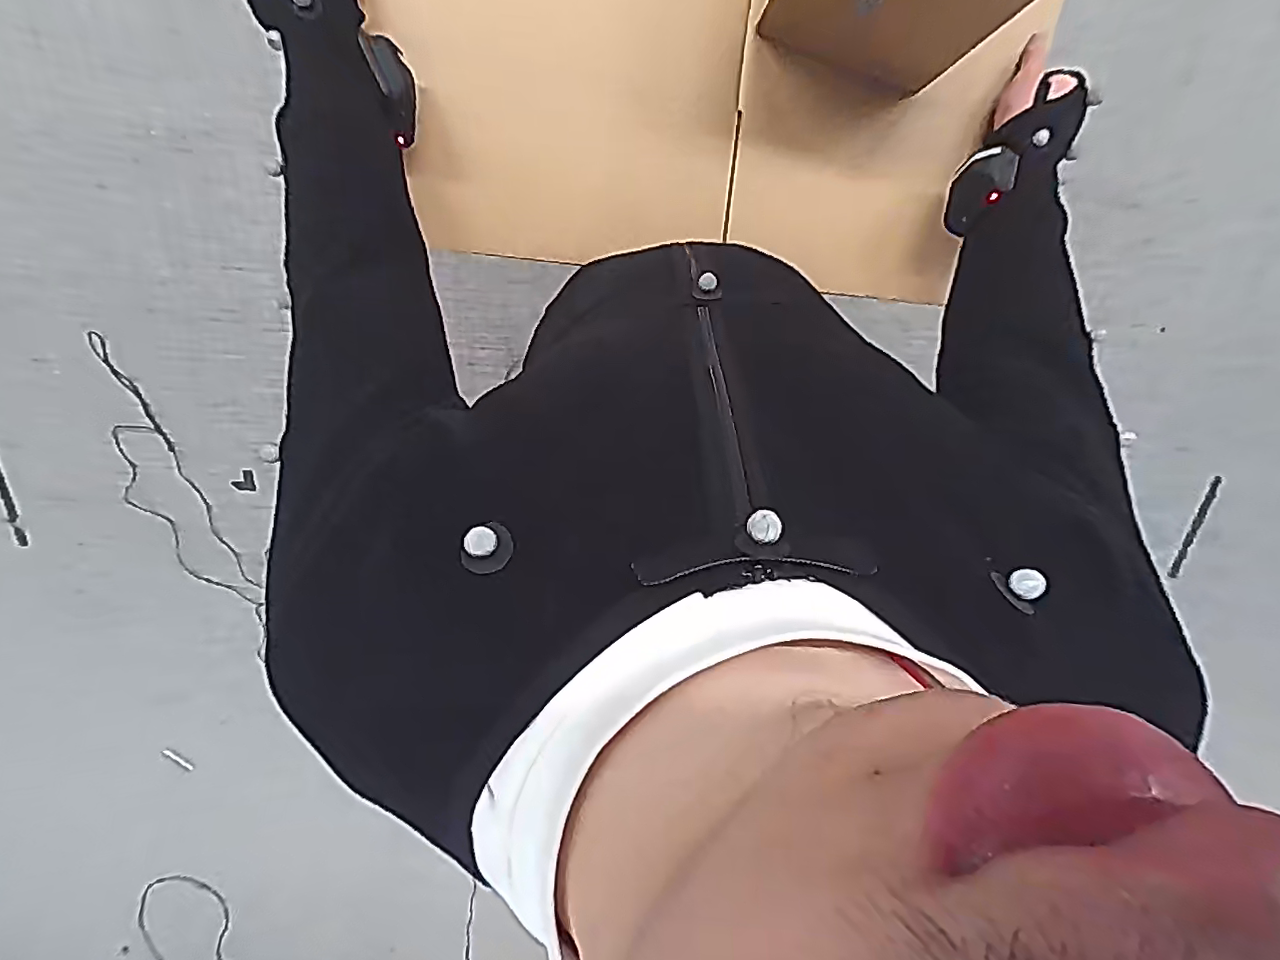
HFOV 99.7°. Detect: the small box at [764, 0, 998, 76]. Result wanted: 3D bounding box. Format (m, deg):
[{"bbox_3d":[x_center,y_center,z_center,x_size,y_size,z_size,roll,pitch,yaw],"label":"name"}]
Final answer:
[{"bbox_3d":[0.216,-0.465,0.427,0.179,0.176,0.168,15,105,-5],"label":"small box"}]
